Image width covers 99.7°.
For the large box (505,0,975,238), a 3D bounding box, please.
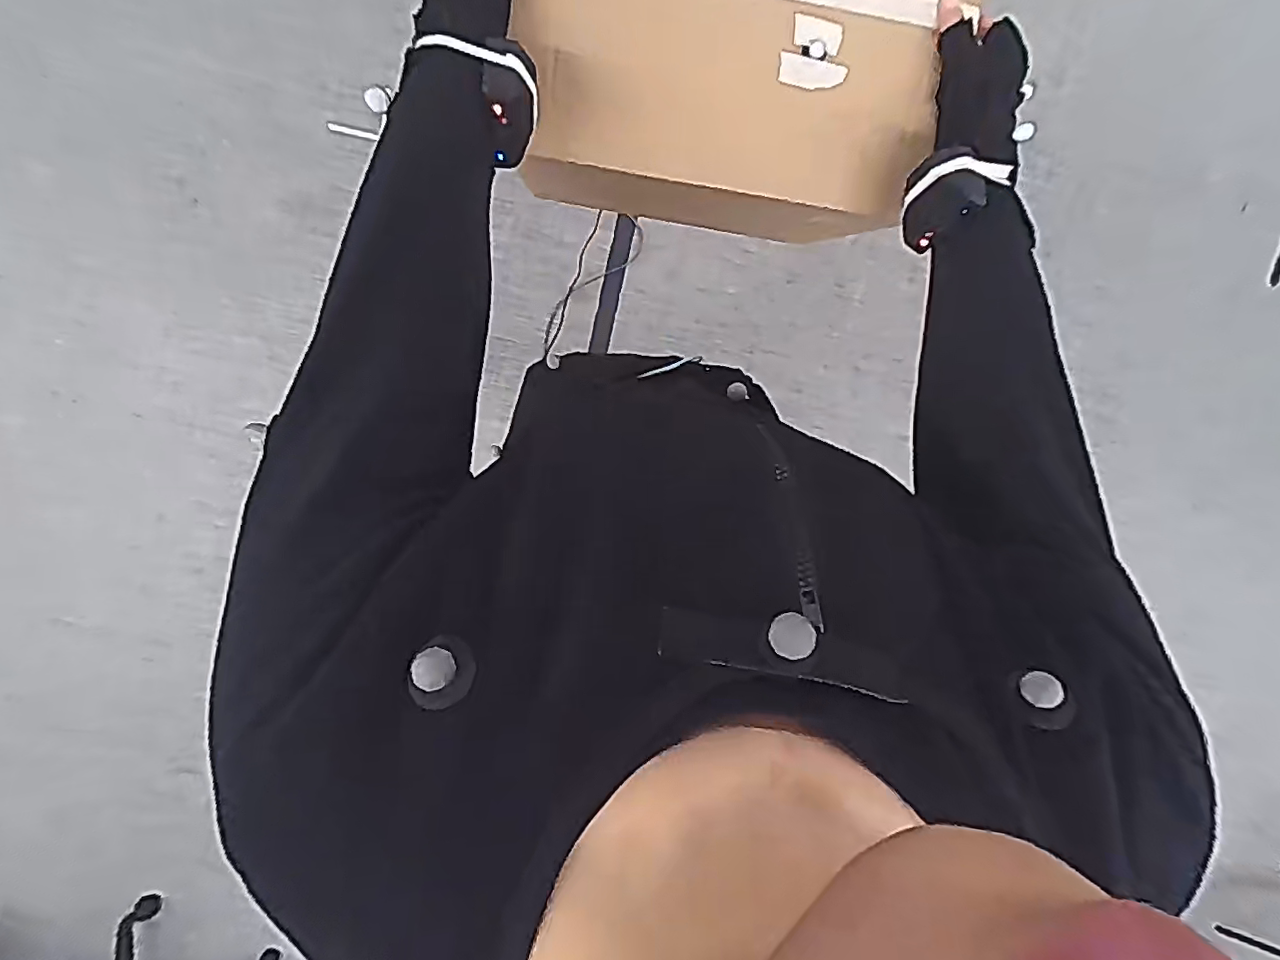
[{"bbox_3d":[0.082,-0.472,0.595,0.408,0.320,0.320,7,110,-7],"label":"large box"}]
